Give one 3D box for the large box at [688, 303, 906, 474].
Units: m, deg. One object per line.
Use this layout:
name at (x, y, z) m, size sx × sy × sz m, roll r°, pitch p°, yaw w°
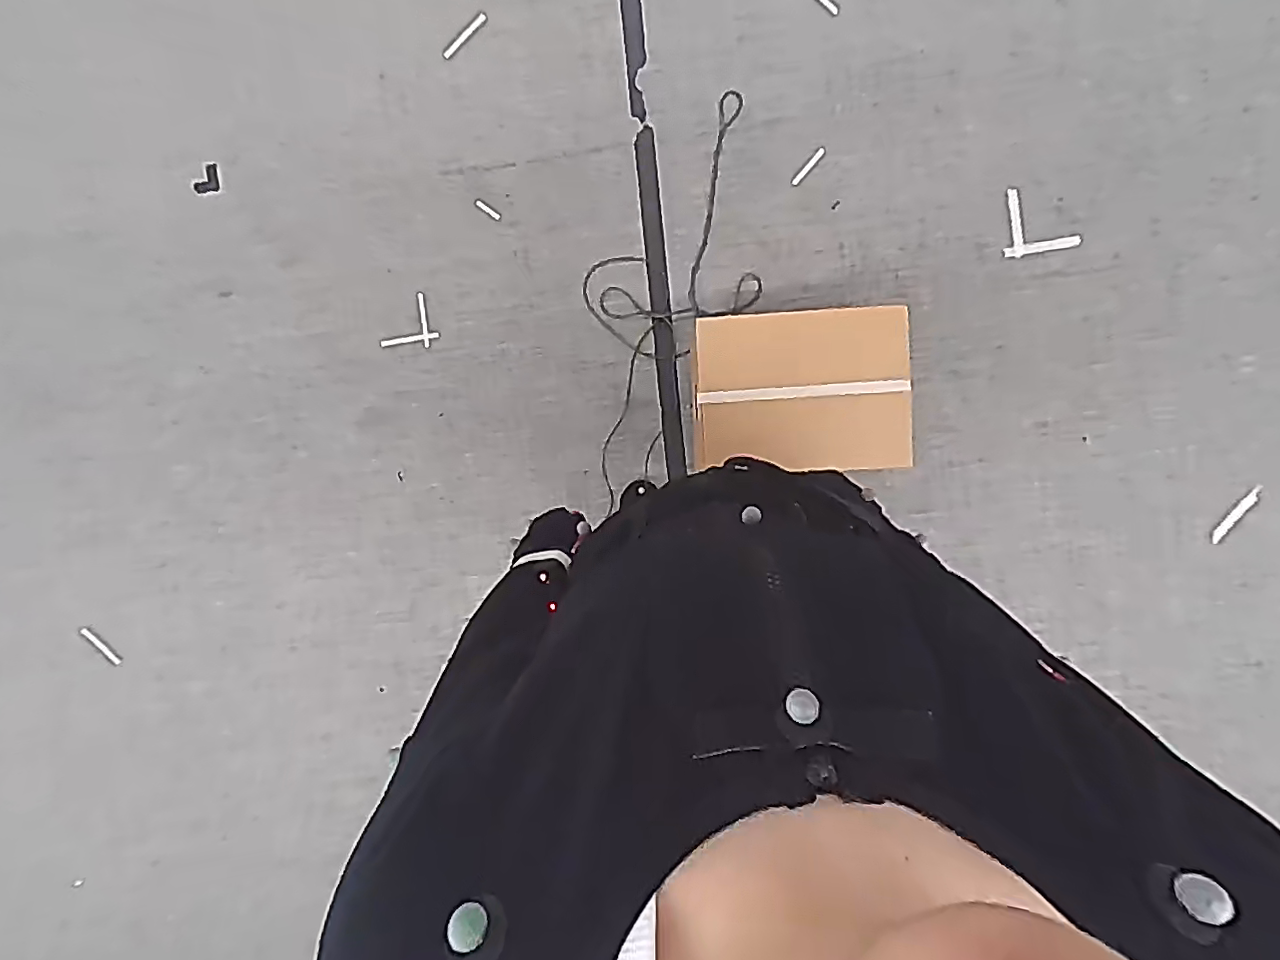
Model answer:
large box at (0.320, -0.185, 1.204) m, size 0.408 × 0.320 × 0.320 m, roll -3°, pitch 94°, yaw 3°
